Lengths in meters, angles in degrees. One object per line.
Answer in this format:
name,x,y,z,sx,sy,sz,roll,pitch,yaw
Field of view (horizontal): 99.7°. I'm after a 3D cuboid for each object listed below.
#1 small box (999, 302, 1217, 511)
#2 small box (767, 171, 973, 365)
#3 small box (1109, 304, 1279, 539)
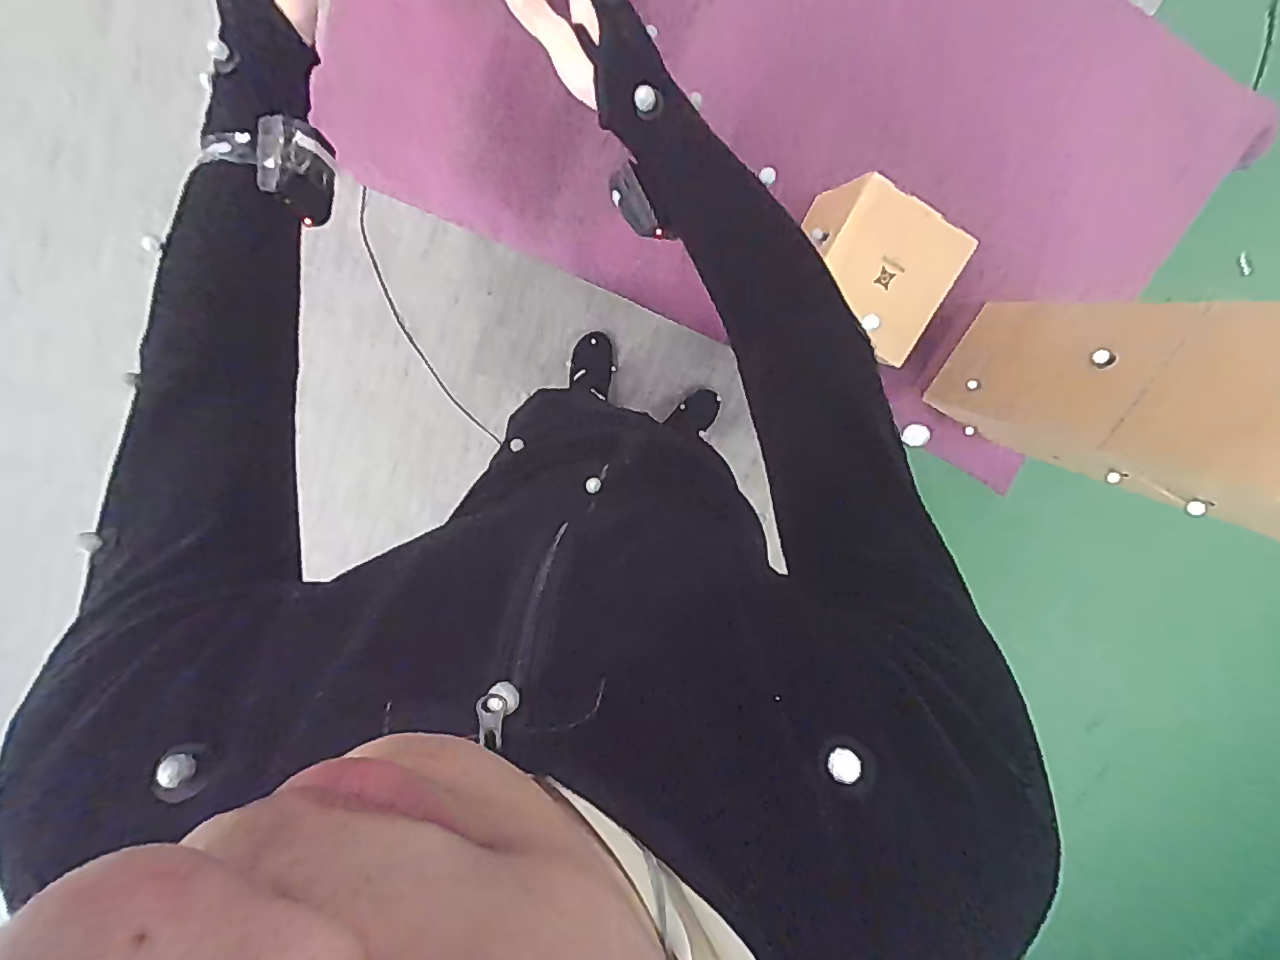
small box,0.591,-0.096,0.654,0.168,0.176,0.179,26,104,-11
small box,0.295,-0.279,0.744,0.168,0.176,0.179,25,103,-12
small box,0.604,-0.048,0.497,0.168,0.176,0.179,26,105,-11
